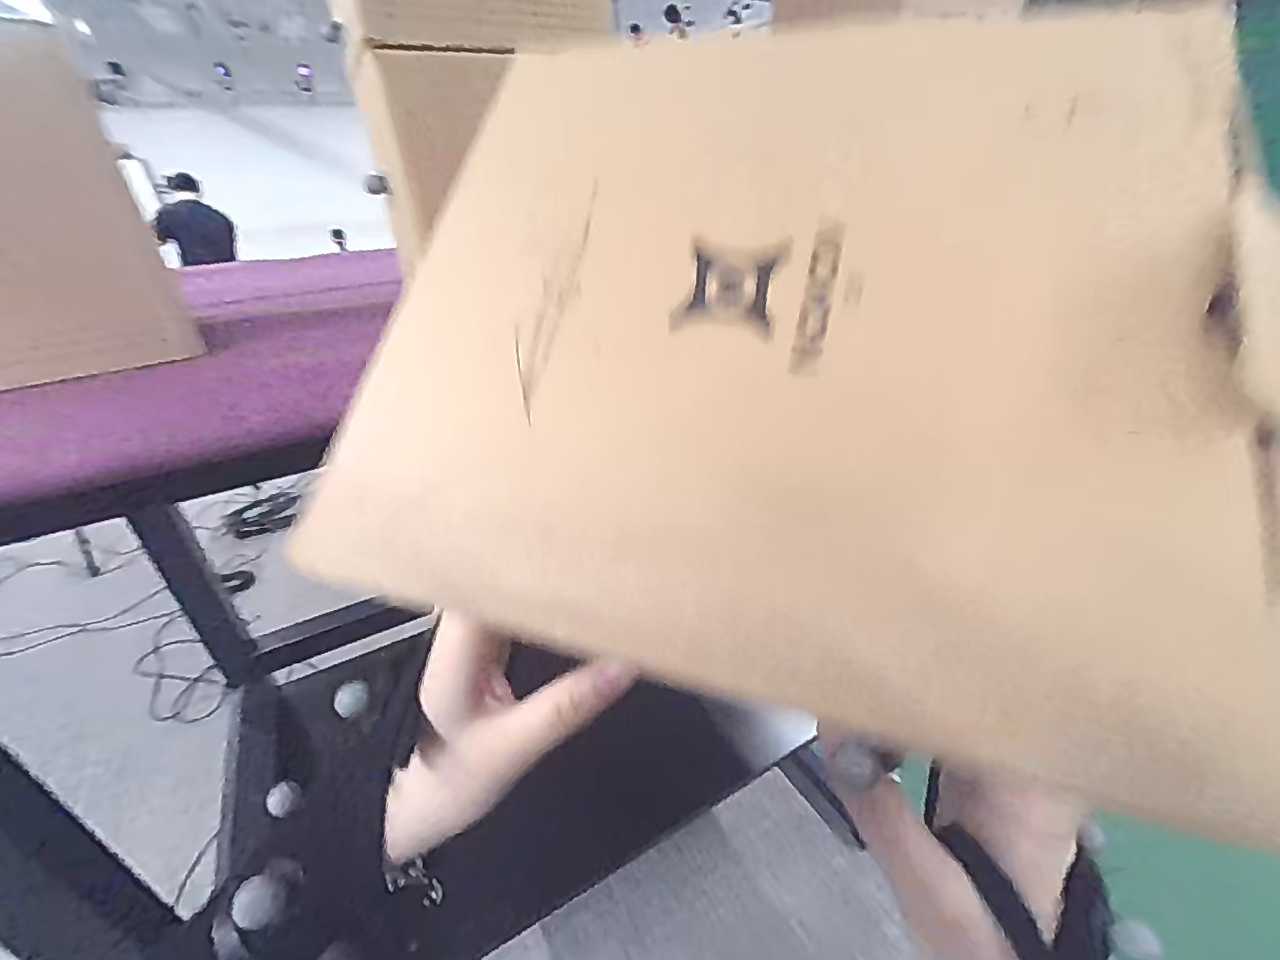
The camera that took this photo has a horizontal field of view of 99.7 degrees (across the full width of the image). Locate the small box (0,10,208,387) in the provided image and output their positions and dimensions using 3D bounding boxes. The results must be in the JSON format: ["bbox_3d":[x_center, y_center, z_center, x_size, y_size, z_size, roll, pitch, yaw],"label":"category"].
[{"bbox_3d":[-0.392,-0.148,0.308,0.179,0.176,0.168,-24,38,-32],"label":"small box"}]

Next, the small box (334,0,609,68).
[{"bbox_3d":[-0.134,-0.395,0.390,0.179,0.176,0.168,-16,32,-24],"label":"small box"}]

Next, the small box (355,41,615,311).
[{"bbox_3d":[-0.124,-0.250,0.466,0.179,0.176,0.168,-17,32,-23],"label":"small box"}]
